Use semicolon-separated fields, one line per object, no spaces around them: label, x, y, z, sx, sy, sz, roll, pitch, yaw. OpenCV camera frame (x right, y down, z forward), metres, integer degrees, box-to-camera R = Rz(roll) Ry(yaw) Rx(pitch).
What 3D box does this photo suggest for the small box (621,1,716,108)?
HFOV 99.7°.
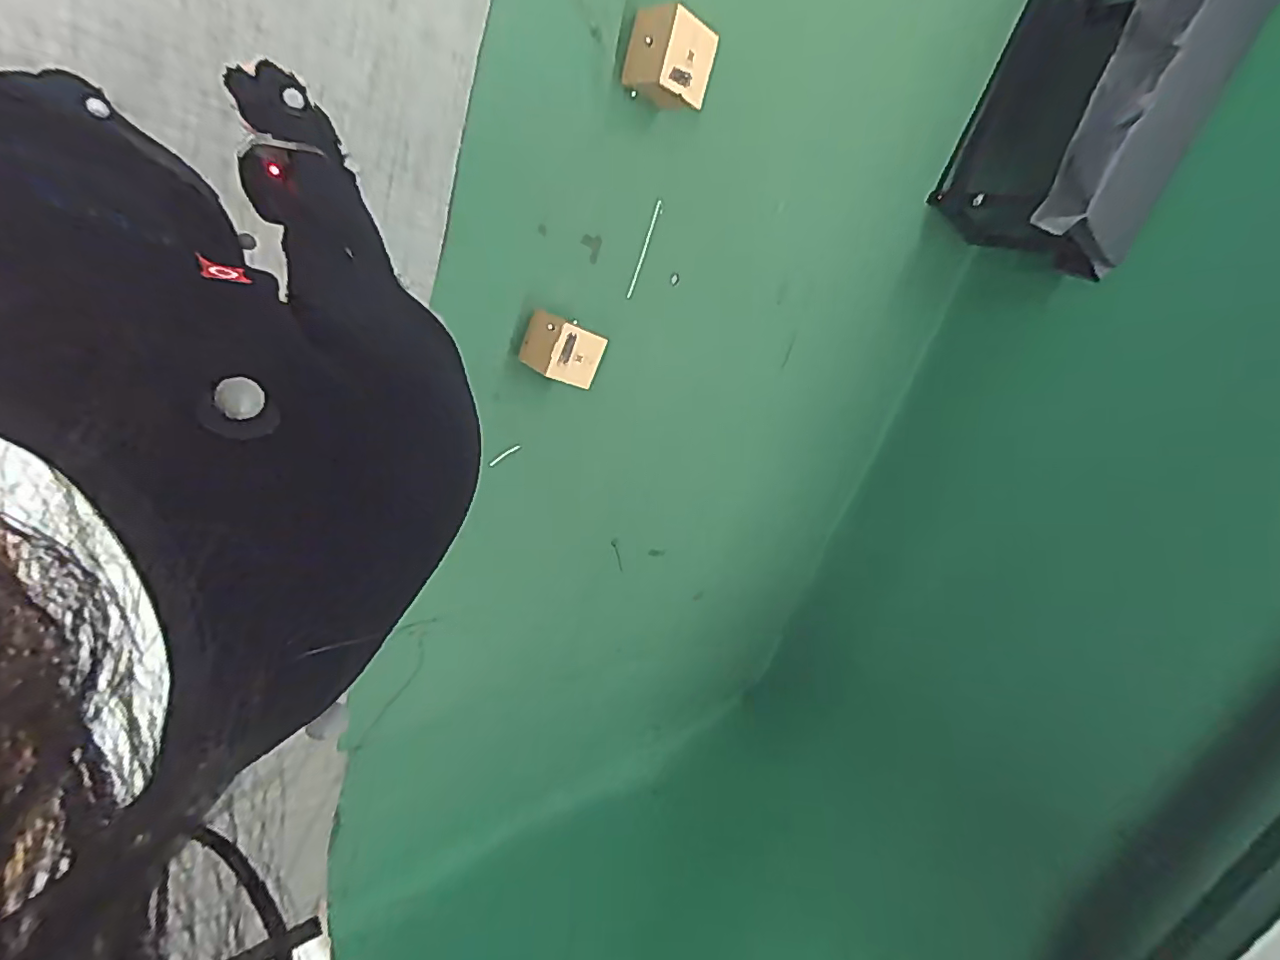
small box;0.071;-1.138;1.464;0.168;0.176;0.179;-2;117;-44
